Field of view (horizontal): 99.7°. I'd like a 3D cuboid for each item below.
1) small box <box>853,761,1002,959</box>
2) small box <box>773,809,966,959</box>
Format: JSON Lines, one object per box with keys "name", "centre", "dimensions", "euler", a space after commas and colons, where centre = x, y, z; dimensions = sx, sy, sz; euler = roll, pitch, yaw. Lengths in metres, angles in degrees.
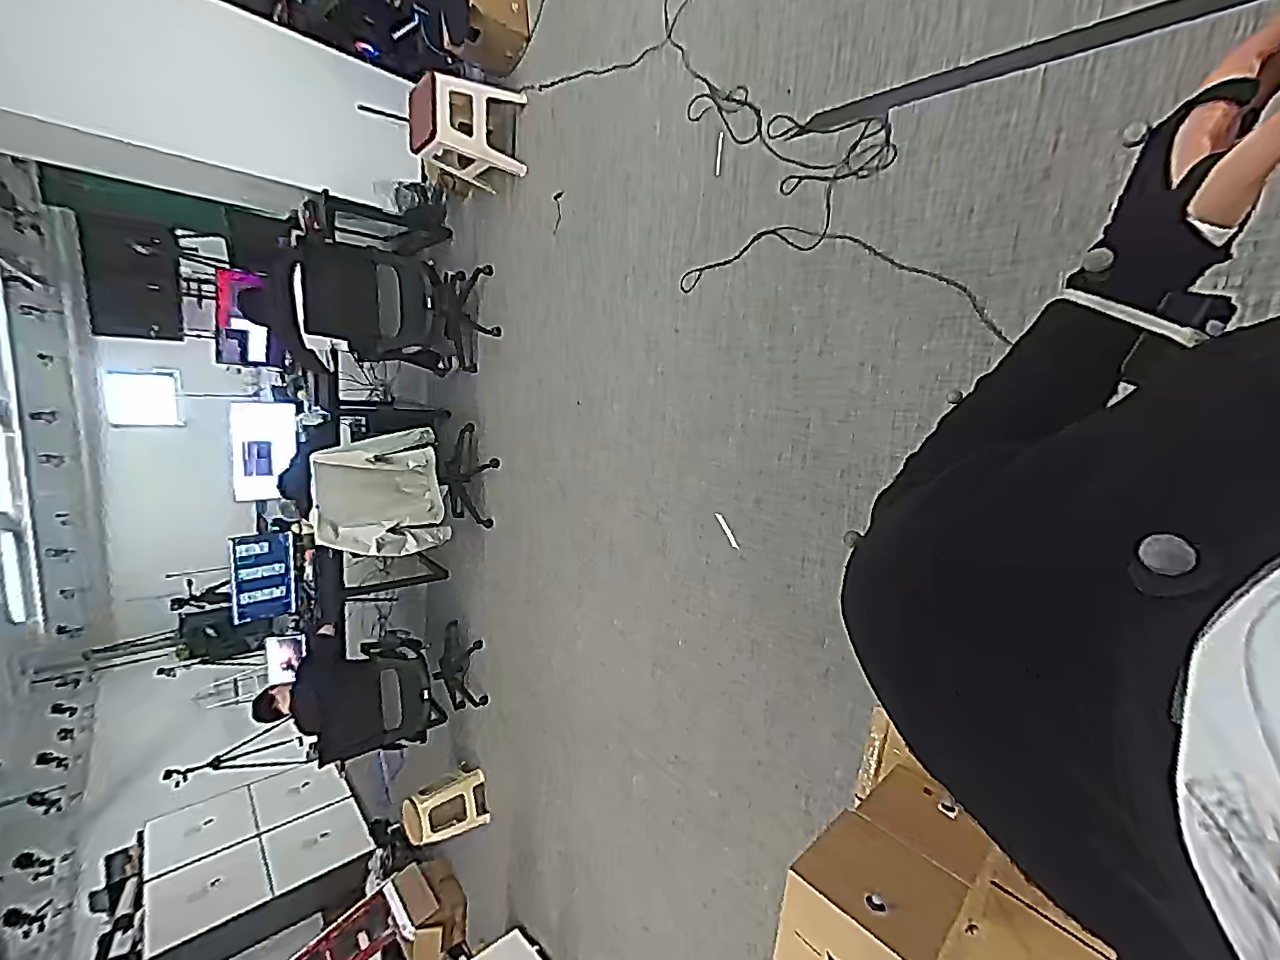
{"name": "small box", "centre": [0.430, 0.581, 0.833], "dimensions": [0.168, 0.176, 0.179], "euler": [16, 104, 45]}
{"name": "small box", "centre": [0.307, 0.589, 0.723], "dimensions": [0.179, 0.176, 0.168], "euler": [16, 105, 46]}
